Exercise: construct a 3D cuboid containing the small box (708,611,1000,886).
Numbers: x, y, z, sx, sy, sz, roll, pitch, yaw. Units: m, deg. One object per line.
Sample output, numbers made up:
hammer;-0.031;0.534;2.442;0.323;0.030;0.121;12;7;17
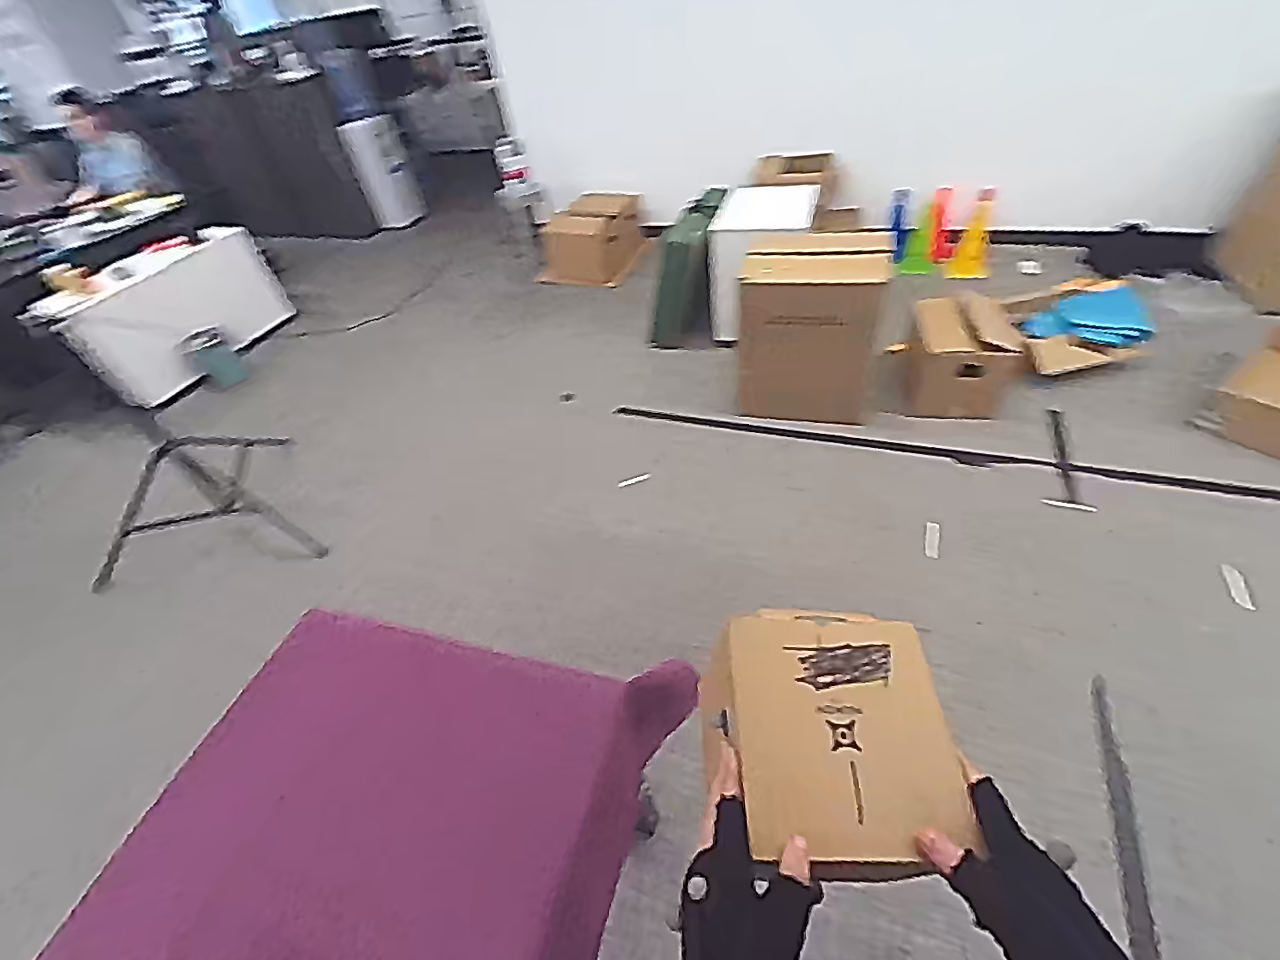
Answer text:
small box;0.155;0.234;0.470;0.168;0.176;0.179;3;50;-1
